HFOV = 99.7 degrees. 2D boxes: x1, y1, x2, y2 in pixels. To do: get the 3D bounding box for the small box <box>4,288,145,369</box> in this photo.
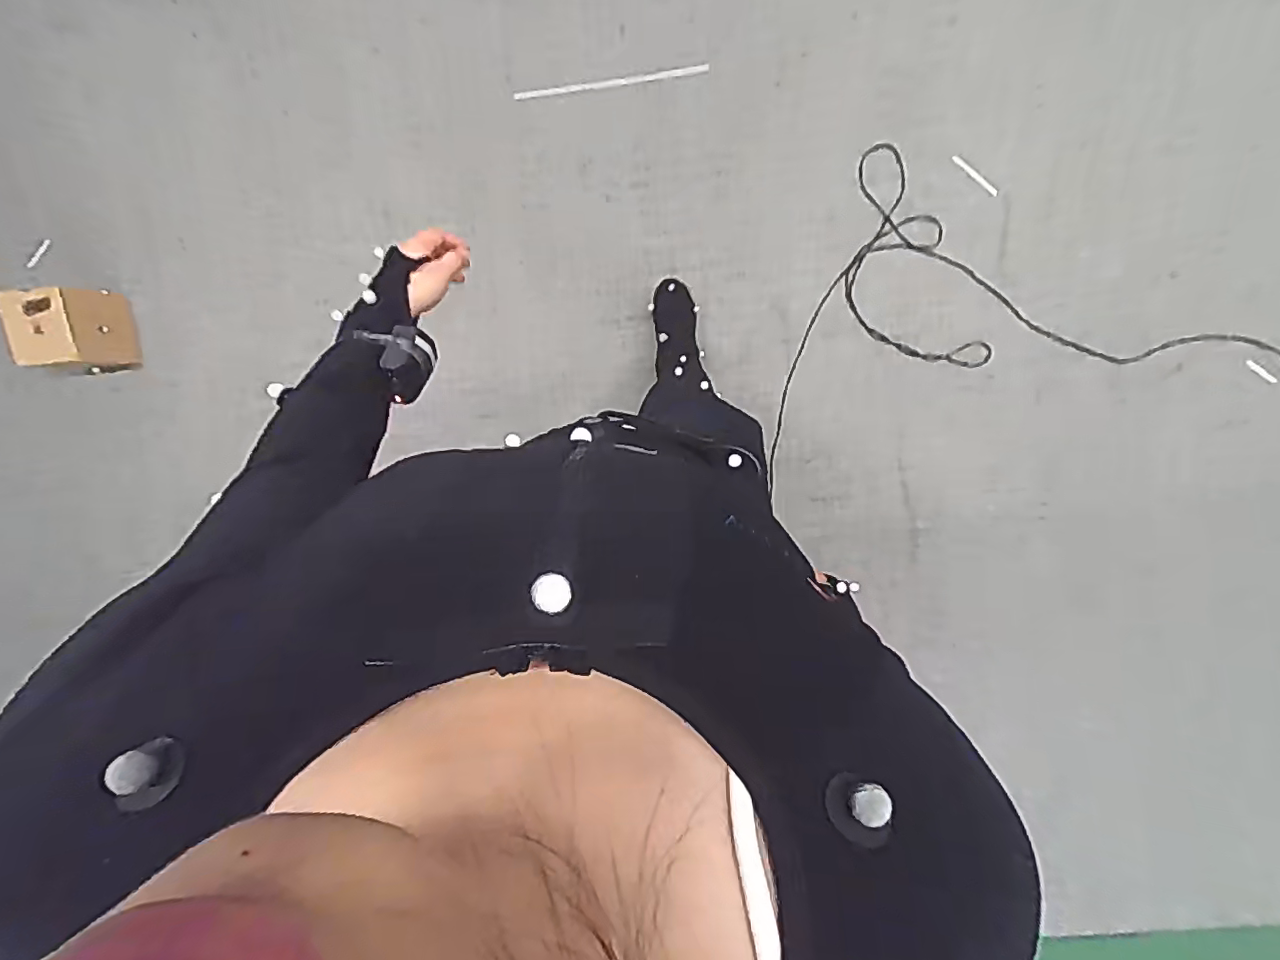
[{"bbox_3d":[-1.436,-0.381,1.385,0.168,0.176,0.179,-5,100,3],"label":"small box"}]
